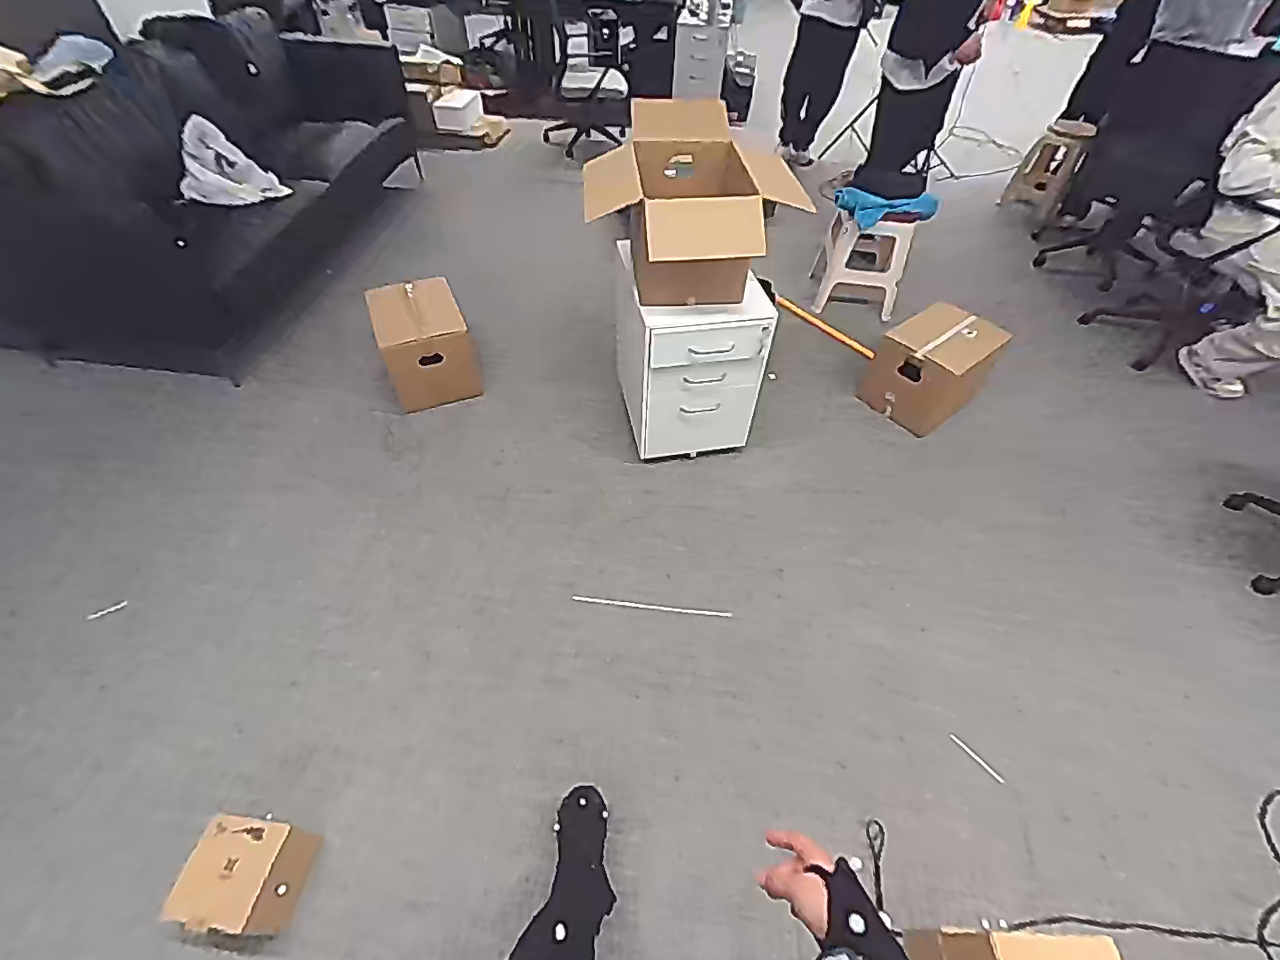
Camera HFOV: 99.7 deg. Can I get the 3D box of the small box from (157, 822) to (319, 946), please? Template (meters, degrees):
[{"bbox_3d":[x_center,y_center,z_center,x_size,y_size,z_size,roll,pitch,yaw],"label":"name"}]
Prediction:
[{"bbox_3d":[-0.798,0.823,1.100,0.168,0.176,0.179,6,49,4],"label":"small box"}]

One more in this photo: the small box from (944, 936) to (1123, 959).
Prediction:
[{"bbox_3d":[0.570,0.751,0.758,0.179,0.176,0.168,1,48,1],"label":"small box"}]

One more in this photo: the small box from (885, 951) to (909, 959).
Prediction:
[{"bbox_3d":[0.572,0.977,0.993,0.179,0.176,0.168,0,49,-2],"label":"small box"}]

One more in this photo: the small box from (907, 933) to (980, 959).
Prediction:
[{"bbox_3d":[0.572,0.854,0.883,0.179,0.176,0.168,2,48,2],"label":"small box"}]
